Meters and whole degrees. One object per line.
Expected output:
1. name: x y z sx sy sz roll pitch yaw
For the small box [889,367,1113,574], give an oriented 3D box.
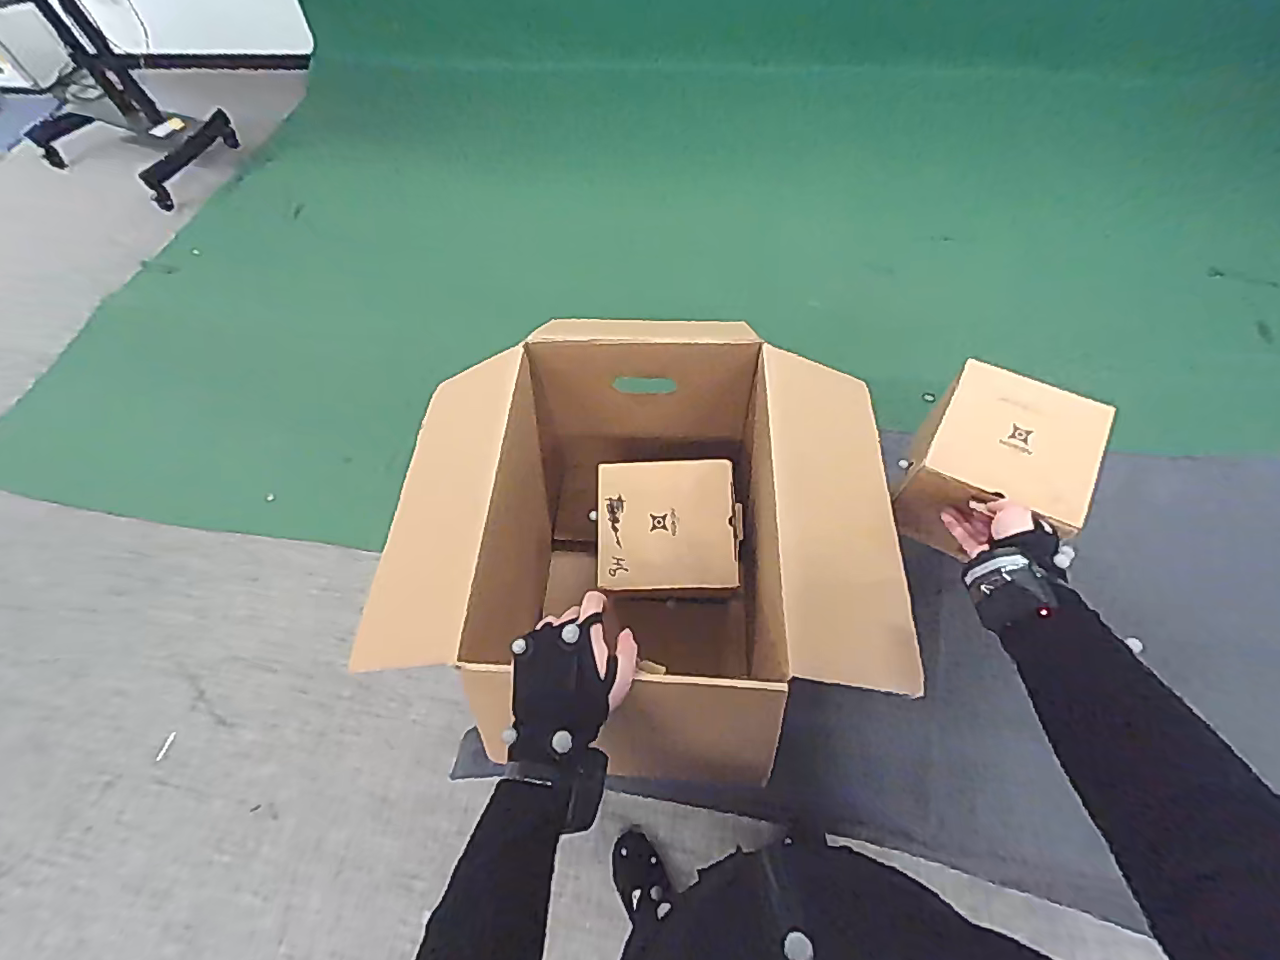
1. small box: 0.445 -0.005 0.693 0.168 0.176 0.179 26 67 16
